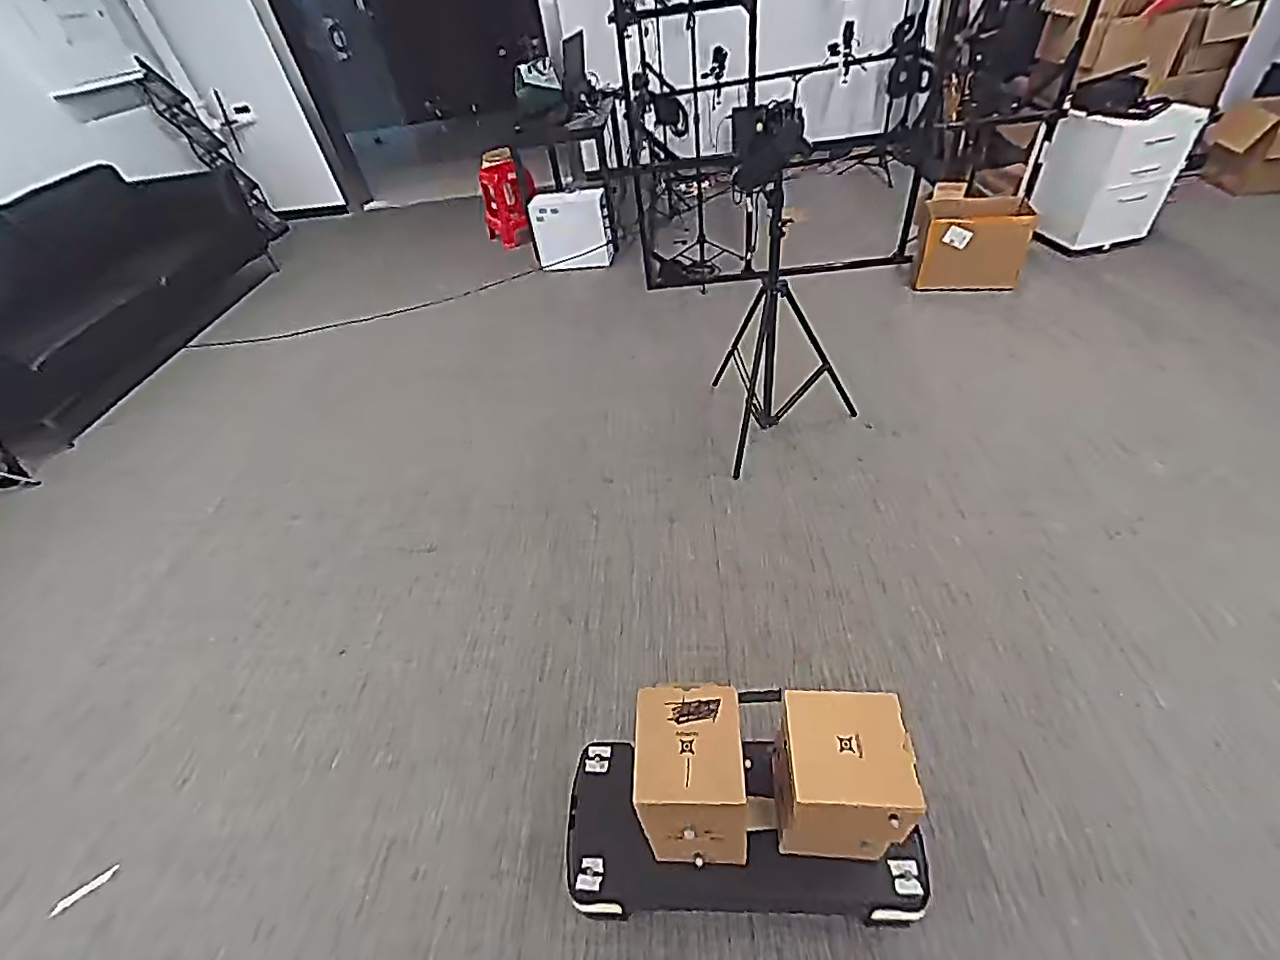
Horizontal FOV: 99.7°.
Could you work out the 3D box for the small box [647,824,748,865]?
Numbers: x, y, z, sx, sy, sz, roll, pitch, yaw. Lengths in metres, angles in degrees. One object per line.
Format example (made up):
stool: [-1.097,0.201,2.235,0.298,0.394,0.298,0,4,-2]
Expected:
small box: [0.107,0.581,0.995,0.168,0.176,0.179,-3,44,7]

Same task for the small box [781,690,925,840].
small box: [0.321,0.451,0.856,0.179,0.176,0.168,-2,44,8]

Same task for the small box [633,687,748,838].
small box: [0.084,0.461,0.886,0.168,0.176,0.179,-3,44,7]

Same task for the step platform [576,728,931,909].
step platform: [0.211,0.688,1.117,0.684,0.204,0.286,-5,43,6]
